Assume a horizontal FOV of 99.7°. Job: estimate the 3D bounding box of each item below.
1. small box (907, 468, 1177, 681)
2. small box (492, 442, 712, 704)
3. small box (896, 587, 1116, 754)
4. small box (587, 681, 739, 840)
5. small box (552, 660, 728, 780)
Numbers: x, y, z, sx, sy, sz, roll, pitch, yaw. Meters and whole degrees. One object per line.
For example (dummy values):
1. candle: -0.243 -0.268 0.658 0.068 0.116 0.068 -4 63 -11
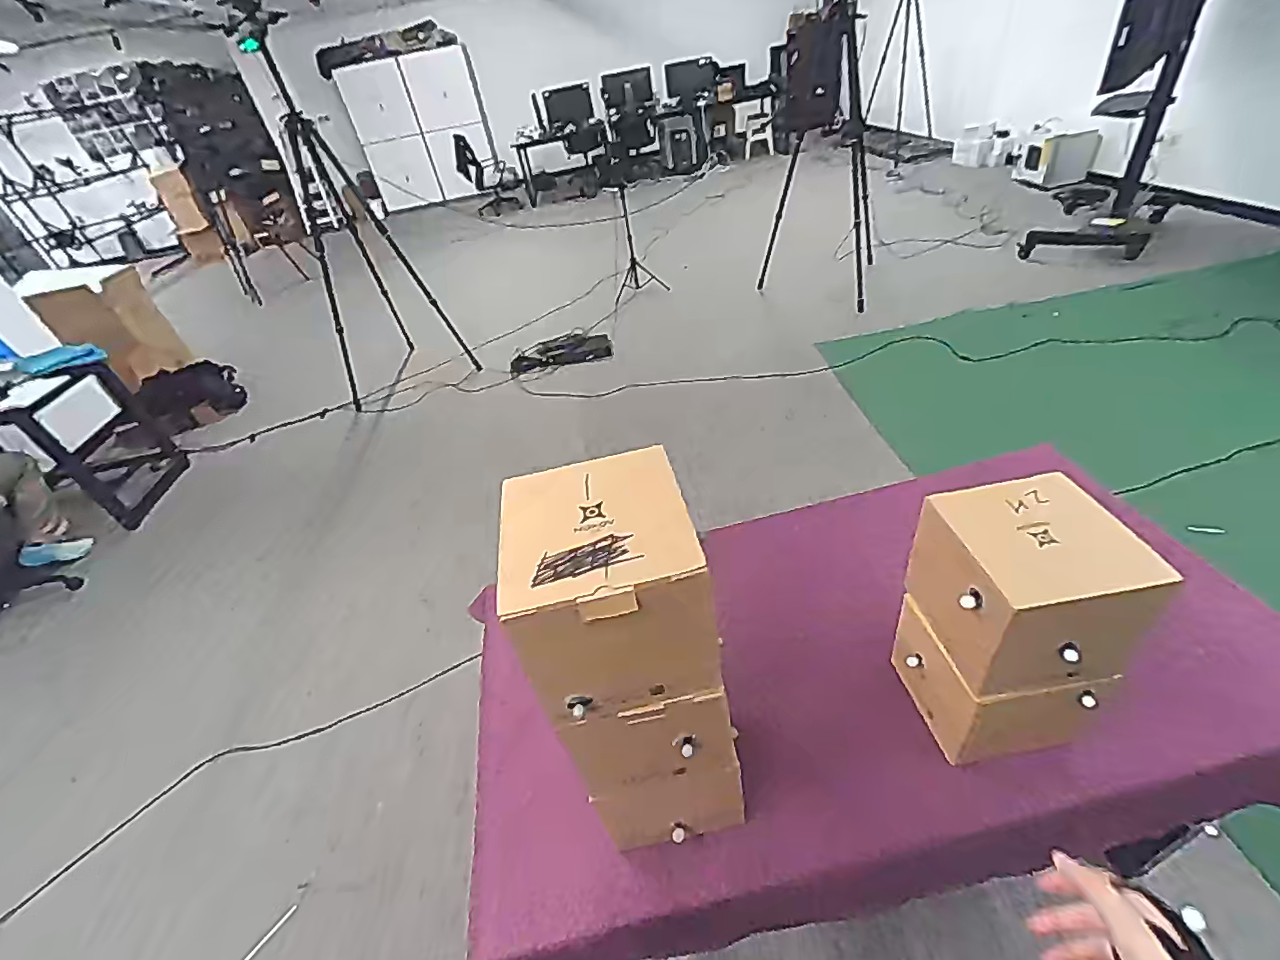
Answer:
1. small box: 0.439 0.115 0.631 0.168 0.176 0.179 -10 39 2
2. small box: -0.033 0.093 0.523 0.168 0.176 0.179 -13 38 -2
3. small box: 0.467 0.244 0.729 0.179 0.176 0.168 -11 39 0
4. small box: 0.028 0.348 0.721 0.179 0.176 0.168 -12 38 0
5. small box: 0.001 0.220 0.622 0.168 0.176 0.179 -11 38 1
